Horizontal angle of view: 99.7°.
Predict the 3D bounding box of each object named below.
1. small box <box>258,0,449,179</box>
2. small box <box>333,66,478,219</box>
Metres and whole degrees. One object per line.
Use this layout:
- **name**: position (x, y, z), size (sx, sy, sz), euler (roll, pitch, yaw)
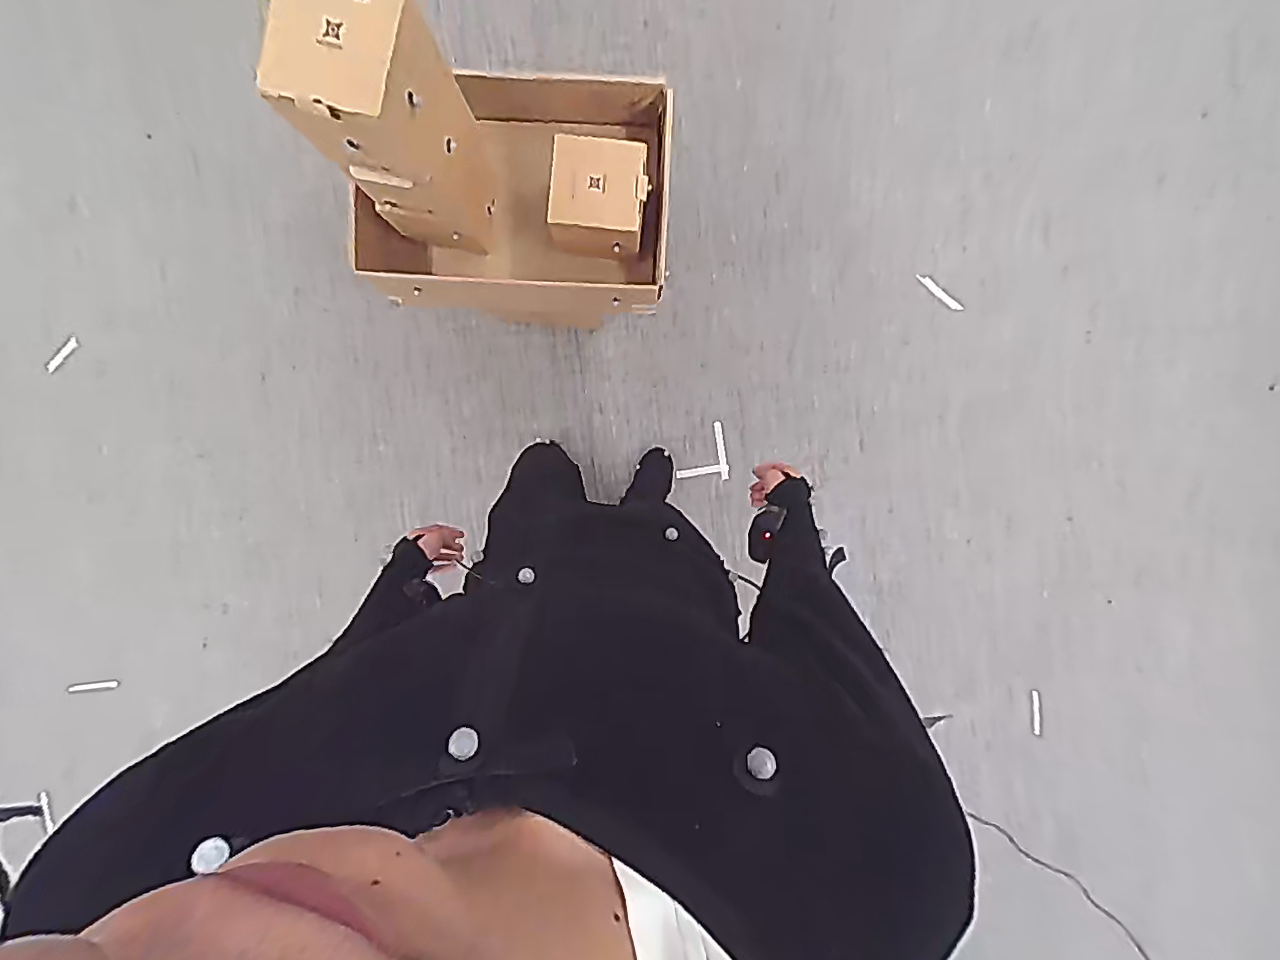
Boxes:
- **small box**: position (-0.389, -0.563, 0.765), size (0.168, 0.176, 0.179), euler (14, 94, -1)
- **small box**: position (-0.390, -0.578, 0.929), size (0.168, 0.176, 0.179), euler (10, 92, -1)
